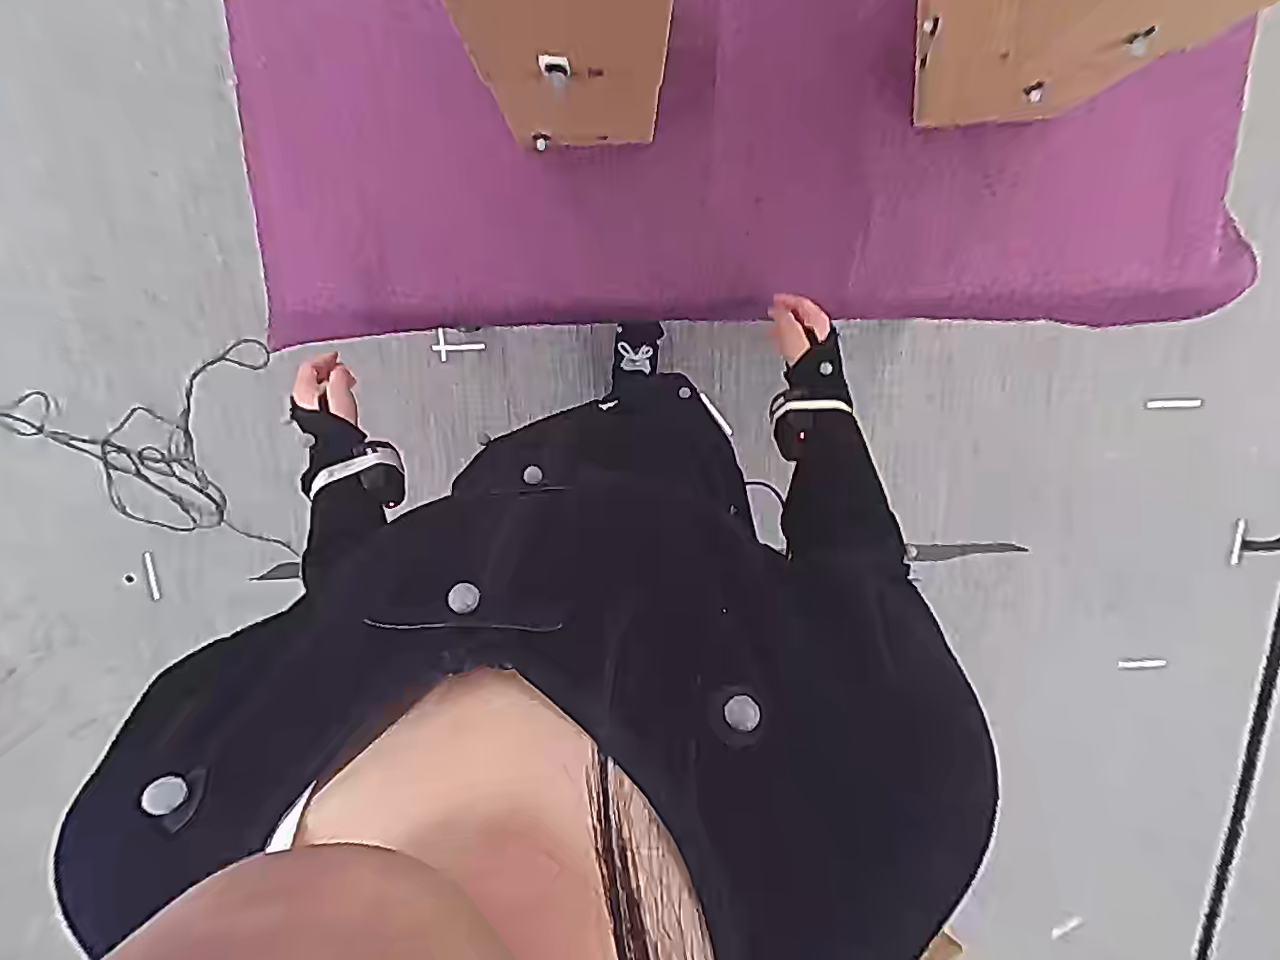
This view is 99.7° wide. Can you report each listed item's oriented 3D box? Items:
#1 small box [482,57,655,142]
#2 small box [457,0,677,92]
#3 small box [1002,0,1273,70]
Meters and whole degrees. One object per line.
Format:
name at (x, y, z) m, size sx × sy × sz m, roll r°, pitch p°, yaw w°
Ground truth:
small box at (-0.068, -0.475, 0.562) m, size 0.168 × 0.176 × 0.179 m, roll -2°, pitch 101°, yaw -2°
small box at (-0.059, -0.430, 0.406) m, size 0.168 × 0.176 × 0.179 m, roll -2°, pitch 103°, yaw -1°
small box at (0.423, -0.456, 0.416) m, size 0.179 × 0.176 × 0.168 m, roll -7°, pitch 101°, yaw -1°
